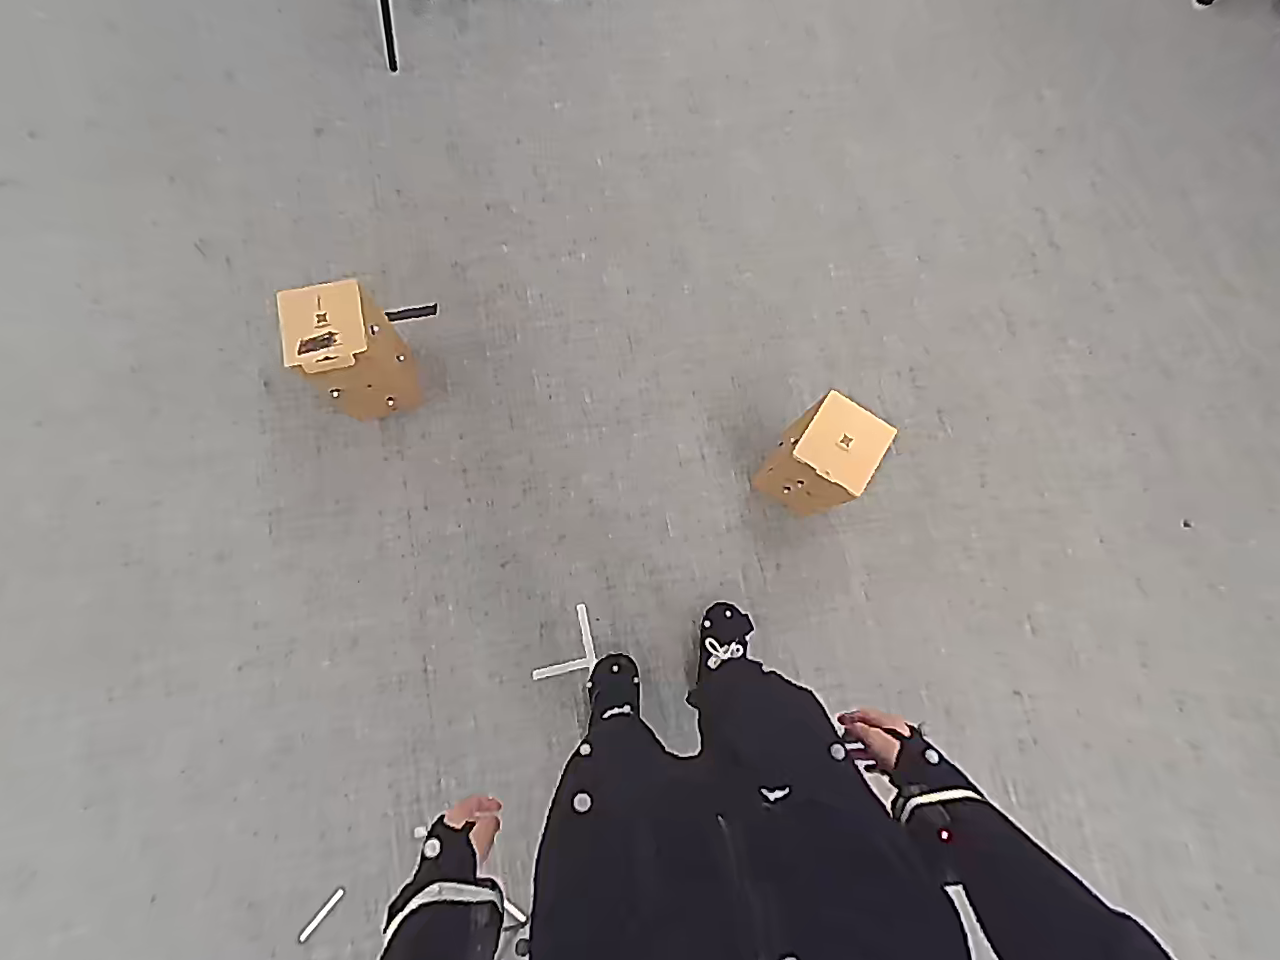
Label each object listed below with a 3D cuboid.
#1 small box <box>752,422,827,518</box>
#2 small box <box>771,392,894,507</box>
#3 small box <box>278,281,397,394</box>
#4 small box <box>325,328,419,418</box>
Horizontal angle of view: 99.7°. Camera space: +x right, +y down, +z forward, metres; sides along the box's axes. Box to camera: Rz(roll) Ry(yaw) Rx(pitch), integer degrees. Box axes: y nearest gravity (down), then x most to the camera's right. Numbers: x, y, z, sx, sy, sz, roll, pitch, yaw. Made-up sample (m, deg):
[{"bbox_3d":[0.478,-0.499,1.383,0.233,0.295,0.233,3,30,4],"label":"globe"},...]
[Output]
[{"bbox_3d":[0.405,-0.026,1.361,0.168,0.176,0.179,33,78,3],"label":"small box"},{"bbox_3d":[0.417,-0.059,1.201,0.168,0.176,0.179,33,79,3],"label":"small box"},{"bbox_3d":[-0.656,-0.303,1.189,0.168,0.176,0.179,-13,79,-7],"label":"small box"},{"bbox_3d":[-0.671,-0.268,1.350,0.168,0.176,0.179,-14,78,-7],"label":"small box"}]
